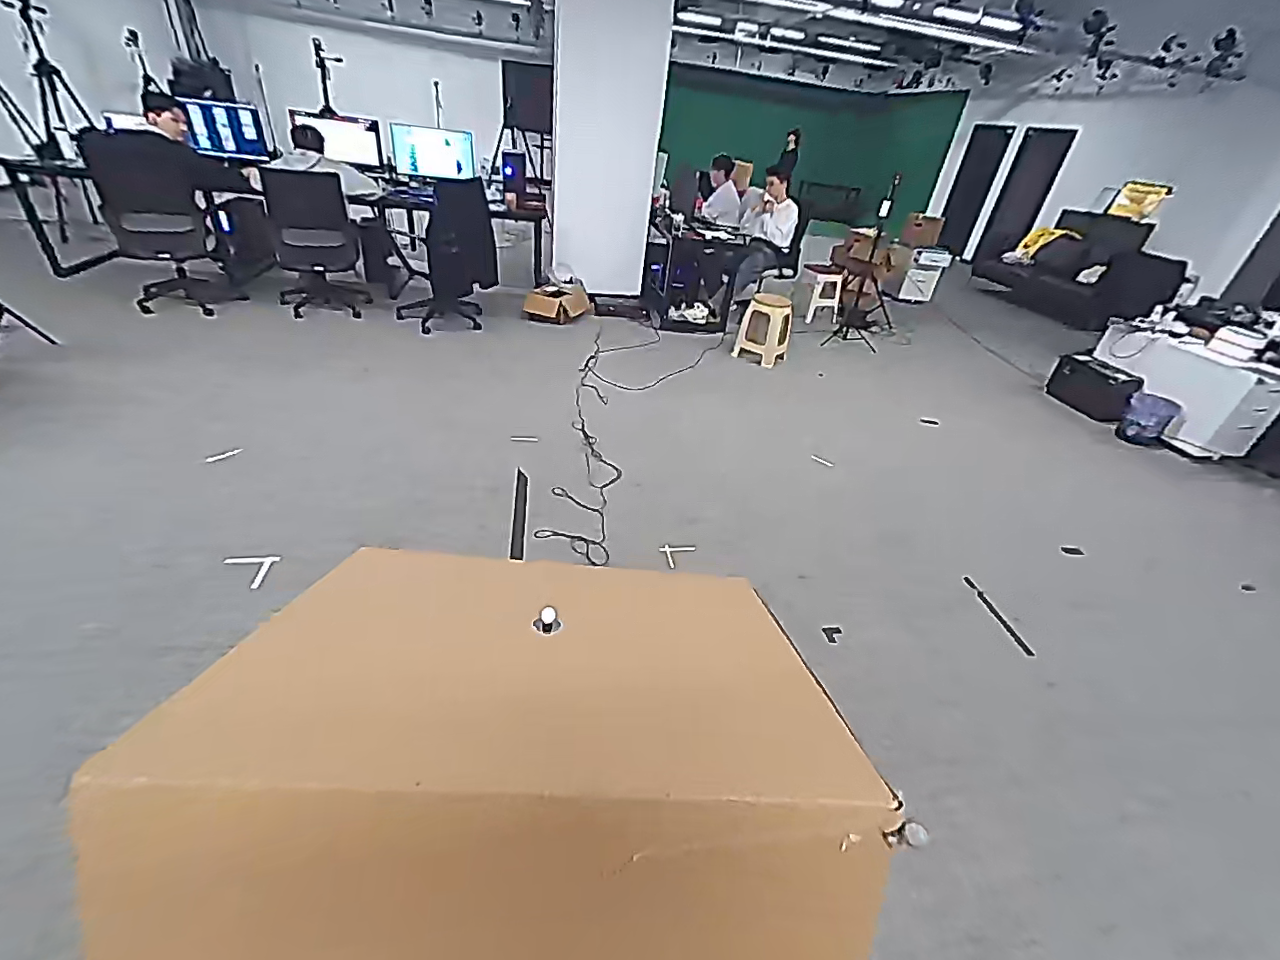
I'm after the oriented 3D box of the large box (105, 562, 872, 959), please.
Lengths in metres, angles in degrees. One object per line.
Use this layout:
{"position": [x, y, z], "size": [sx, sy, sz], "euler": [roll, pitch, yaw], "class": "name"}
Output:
{"position": [-0.093, 0.272, 0.457], "size": [0.408, 0.320, 0.320], "euler": [5, 13, -6], "class": "large box"}
